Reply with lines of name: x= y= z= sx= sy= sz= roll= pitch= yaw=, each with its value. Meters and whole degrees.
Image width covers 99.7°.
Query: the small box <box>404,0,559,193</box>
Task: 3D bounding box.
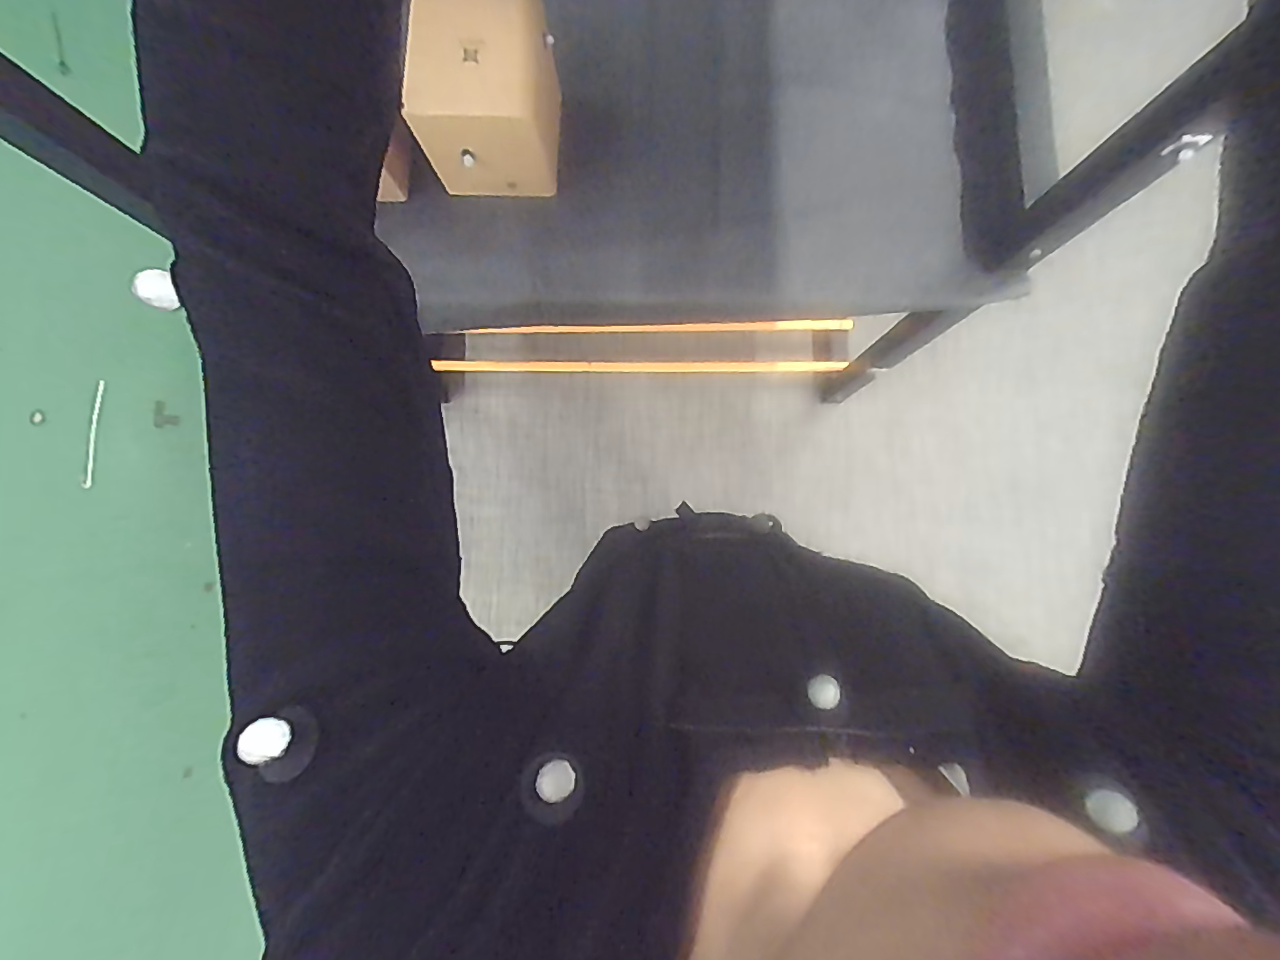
small box: x=-0.211 y=-0.534 z=0.763 sx=0.168 sy=0.176 sz=0.179 roll=2 pitch=84 yaw=1
